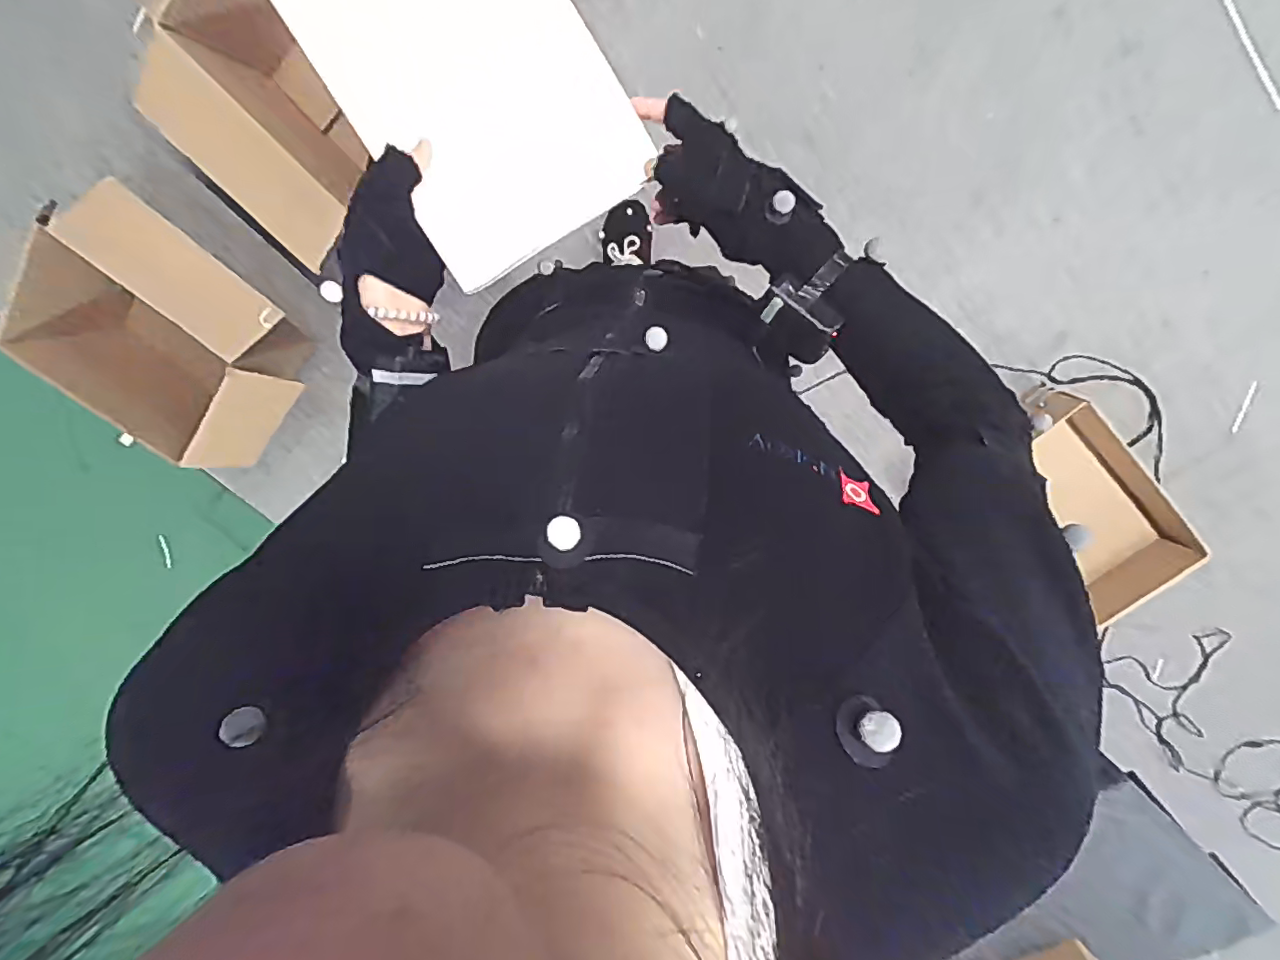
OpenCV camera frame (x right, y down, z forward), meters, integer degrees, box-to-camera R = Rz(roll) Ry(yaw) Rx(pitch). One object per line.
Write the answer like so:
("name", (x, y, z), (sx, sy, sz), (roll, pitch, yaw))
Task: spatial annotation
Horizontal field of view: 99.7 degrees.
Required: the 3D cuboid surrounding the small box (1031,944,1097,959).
("small box", (0.902, 1.101, 1.099), (0.179, 0.176, 0.168), (-39, 106, 17))
